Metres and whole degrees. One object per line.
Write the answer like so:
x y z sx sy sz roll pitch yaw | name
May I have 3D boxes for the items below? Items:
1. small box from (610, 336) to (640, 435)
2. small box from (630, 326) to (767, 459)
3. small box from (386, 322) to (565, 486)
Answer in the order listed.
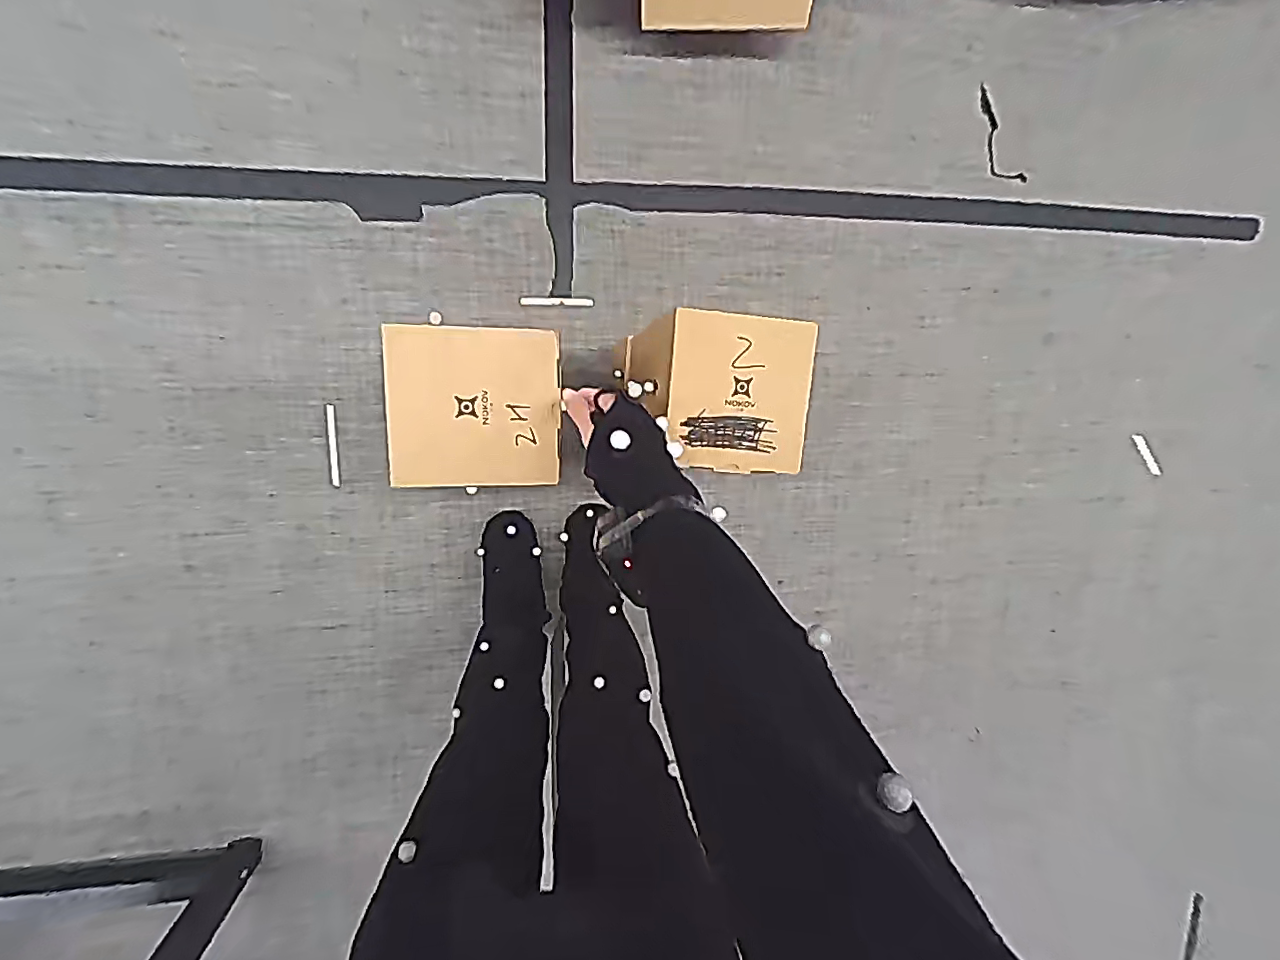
0.049 -0.166 0.993 0.179 0.176 0.168 3 99 -11 | small box
0.080 -0.133 0.834 0.168 0.176 0.179 2 98 -11 | small box
-0.179 -0.086 0.630 0.179 0.176 0.168 -1 100 -11 | small box
